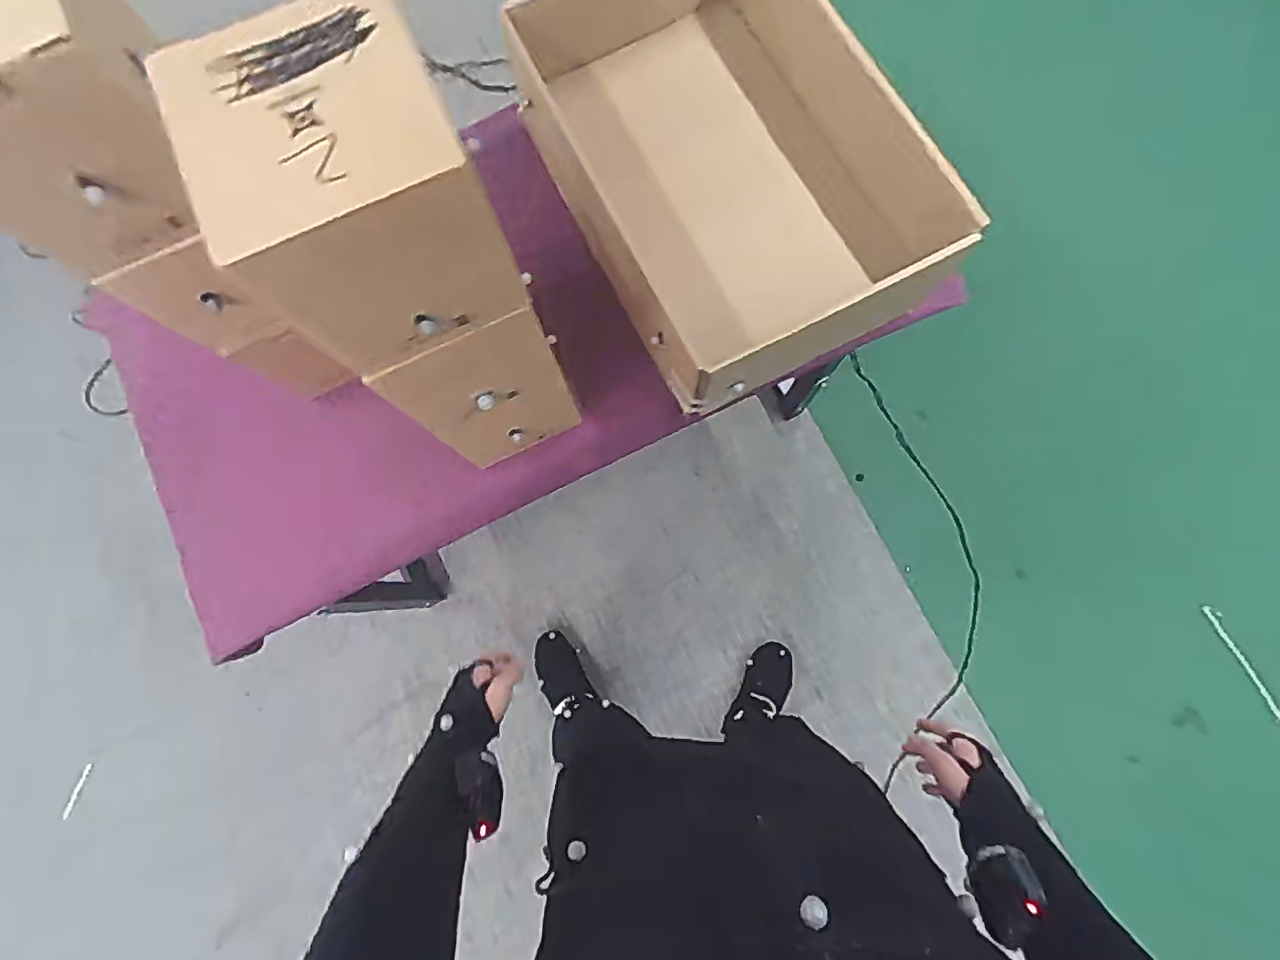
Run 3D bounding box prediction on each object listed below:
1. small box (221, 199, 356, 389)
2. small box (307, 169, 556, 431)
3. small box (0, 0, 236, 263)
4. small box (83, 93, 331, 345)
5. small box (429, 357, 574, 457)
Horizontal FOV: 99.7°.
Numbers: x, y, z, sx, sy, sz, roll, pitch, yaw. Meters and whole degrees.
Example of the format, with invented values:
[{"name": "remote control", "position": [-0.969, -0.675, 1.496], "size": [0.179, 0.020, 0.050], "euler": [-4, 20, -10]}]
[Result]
[{"name": "small box", "position": [-0.485, -0.251, 0.780], "size": [0.168, 0.176, 0.179], "euler": [-26, 79, -4]}, {"name": "small box", "position": [-0.209, -0.179, 0.584], "size": [0.168, 0.176, 0.179], "euler": [-26, 78, -3]}, {"name": "small box", "position": [-0.497, -0.316, 0.460], "size": [0.168, 0.176, 0.179], "euler": [-27, 79, -4]}, {"name": "small box", "position": [-0.490, -0.278, 0.620], "size": [0.168, 0.176, 0.179], "euler": [-27, 78, -4]}, {"name": "small box", "position": [-0.204, -0.144, 0.743], "size": [0.168, 0.176, 0.179], "euler": [-25, 78, -4]}]
